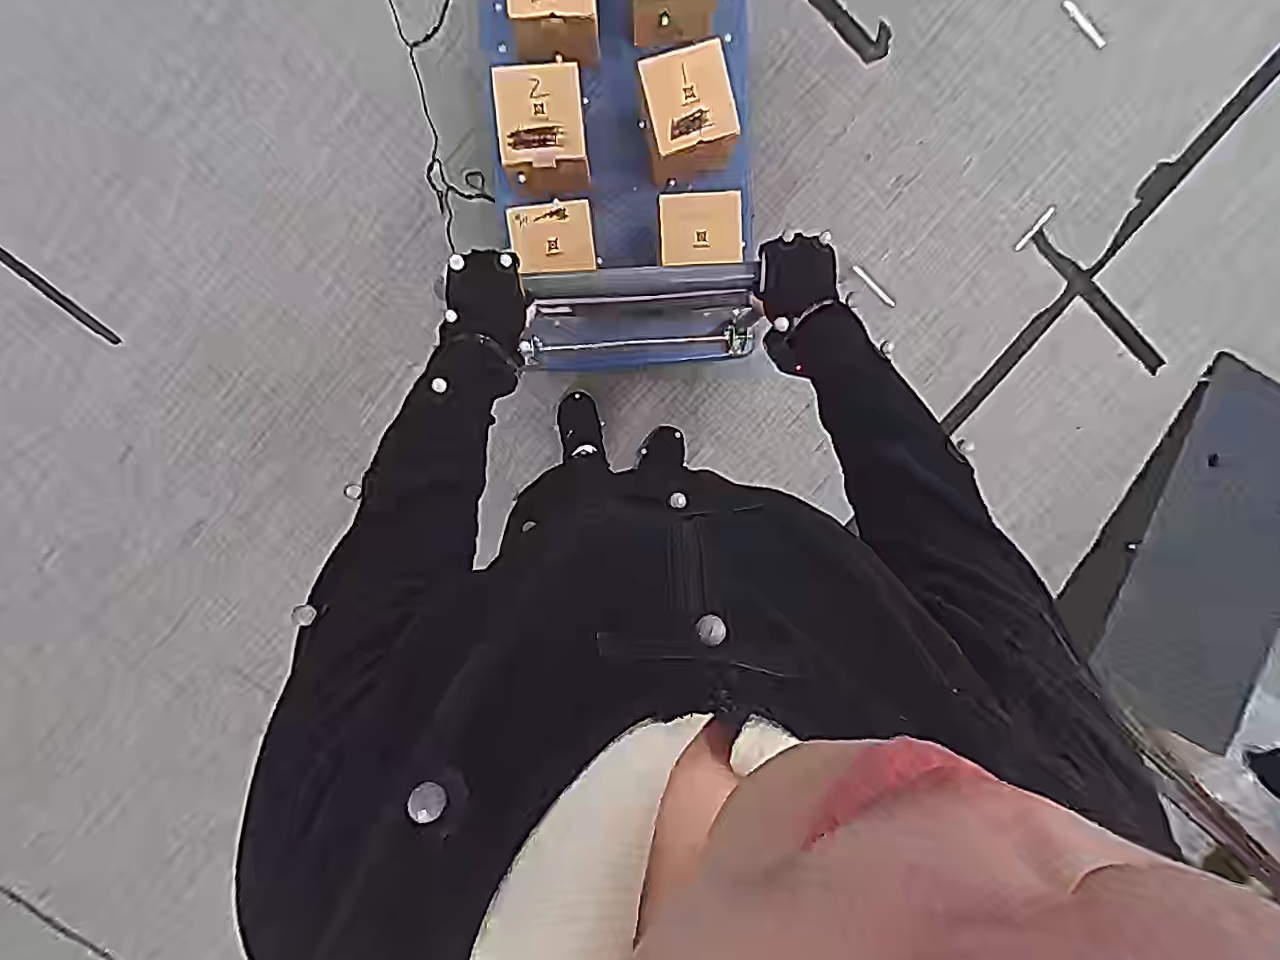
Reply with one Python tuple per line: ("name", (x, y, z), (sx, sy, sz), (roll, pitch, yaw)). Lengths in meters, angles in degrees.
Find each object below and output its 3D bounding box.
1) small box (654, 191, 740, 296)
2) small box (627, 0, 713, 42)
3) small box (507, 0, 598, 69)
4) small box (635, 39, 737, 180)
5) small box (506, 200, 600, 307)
("small box", (0.119, -0.499, 1.166), (0.168, 0.176, 0.179), (-3, 98, -2))
("small box", (0.057, -1.019, 1.082), (0.168, 0.176, 0.179), (-6, 99, 0))
("small box", (-0.172, -0.968, 1.081), (0.168, 0.176, 0.179), (-2, 100, -1))
("small box", (0.090, -0.752, 1.124), (0.168, 0.176, 0.179), (-15, 98, 1))
("small box", (-0.178, -0.474, 1.158), (0.168, 0.176, 0.179), (-7, 100, -2))
